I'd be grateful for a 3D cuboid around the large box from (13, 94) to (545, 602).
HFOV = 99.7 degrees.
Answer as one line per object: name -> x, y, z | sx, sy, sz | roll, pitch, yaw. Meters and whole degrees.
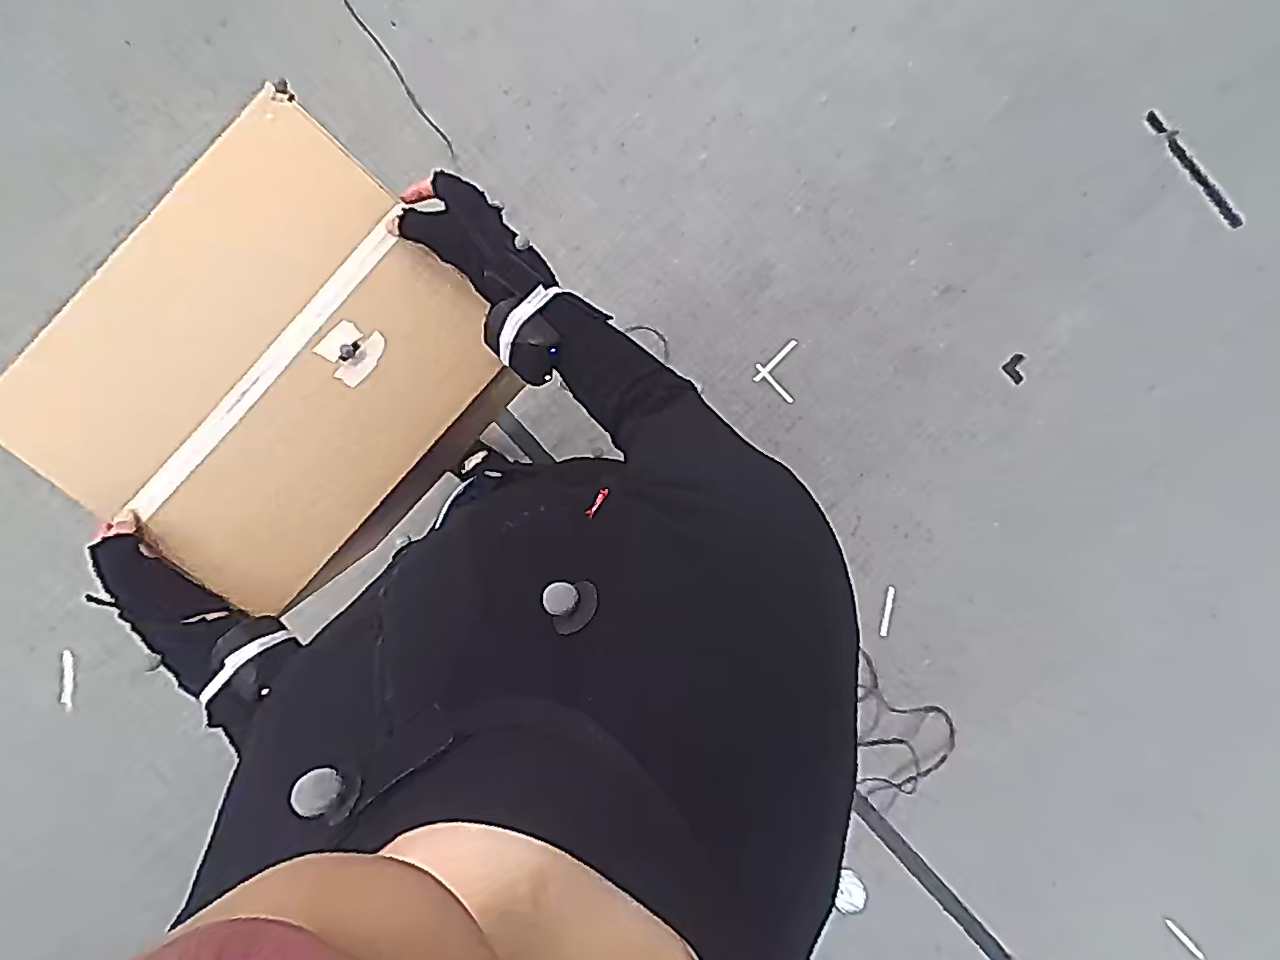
large box -> -0.369, -0.133, 0.678 | 0.320, 0.320, 0.408 | 43, 90, -11
